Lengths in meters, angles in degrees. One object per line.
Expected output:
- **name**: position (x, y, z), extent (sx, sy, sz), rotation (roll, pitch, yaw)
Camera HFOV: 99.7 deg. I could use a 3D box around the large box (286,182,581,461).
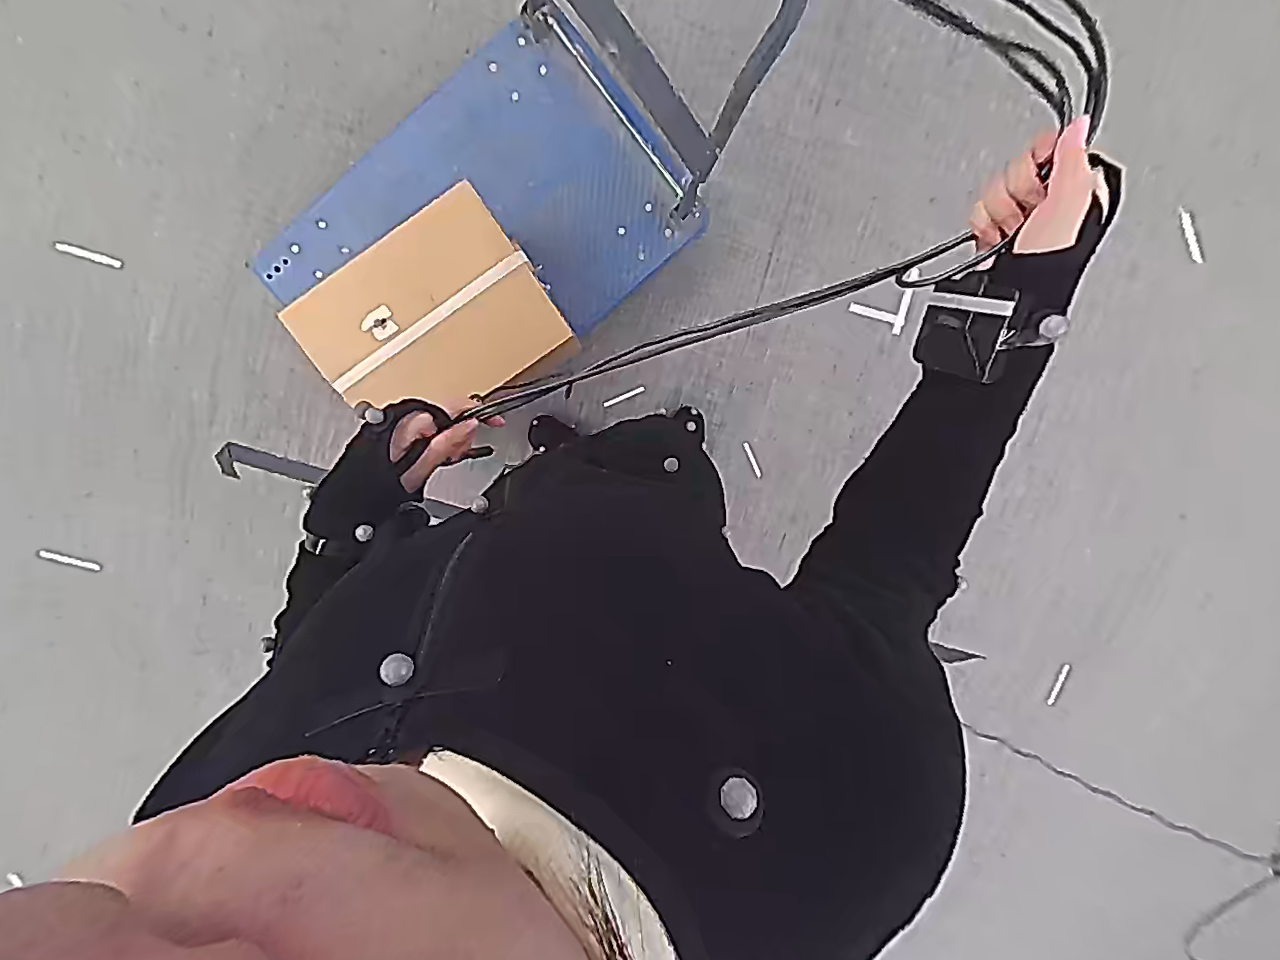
- **large box**: position (-0.371, -0.295, 1.087), extent (0.408, 0.320, 0.320), rotation (-34, 99, 3)
